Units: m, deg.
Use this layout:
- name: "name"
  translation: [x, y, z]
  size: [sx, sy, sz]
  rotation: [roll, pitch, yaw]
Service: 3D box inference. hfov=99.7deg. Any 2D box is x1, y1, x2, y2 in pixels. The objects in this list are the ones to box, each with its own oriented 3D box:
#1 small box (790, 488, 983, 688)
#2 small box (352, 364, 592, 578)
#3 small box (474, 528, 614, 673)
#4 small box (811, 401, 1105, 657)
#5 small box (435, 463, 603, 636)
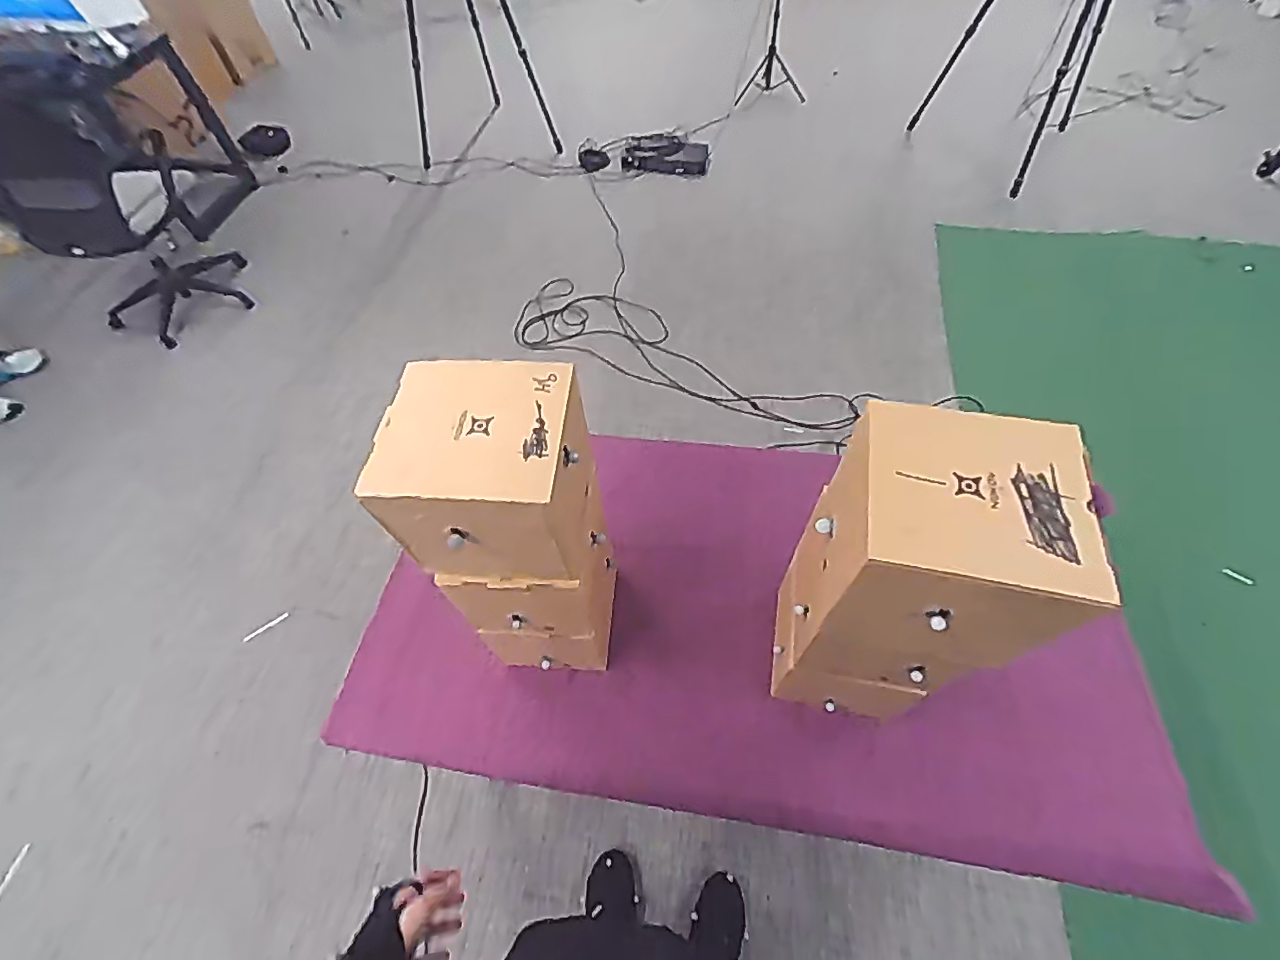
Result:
- name: "small box"
  translation: [0.279, 0.134, 0.647]
  size: [0.168, 0.176, 0.179]
  rotation: [8, 57, 9]
- name: "small box"
  translation: [-0.157, -0.005, 0.575]
  size: [0.179, 0.176, 0.168]
  rotation: [1, 57, 5]
- name: "small box"
  translation: [-0.135, 0.184, 0.840]
  size: [0.168, 0.176, 0.179]
  rotation: [2, 56, 6]
- name: "small box"
  translation: [0.271, 0.052, 0.505]
  size: [0.179, 0.176, 0.168]
  rotation: [9, 58, 11]
- name: "small box"
  translation: [-0.141, 0.091, 0.708]
  size: [0.168, 0.176, 0.179]
  rotation: [0, 57, 4]
